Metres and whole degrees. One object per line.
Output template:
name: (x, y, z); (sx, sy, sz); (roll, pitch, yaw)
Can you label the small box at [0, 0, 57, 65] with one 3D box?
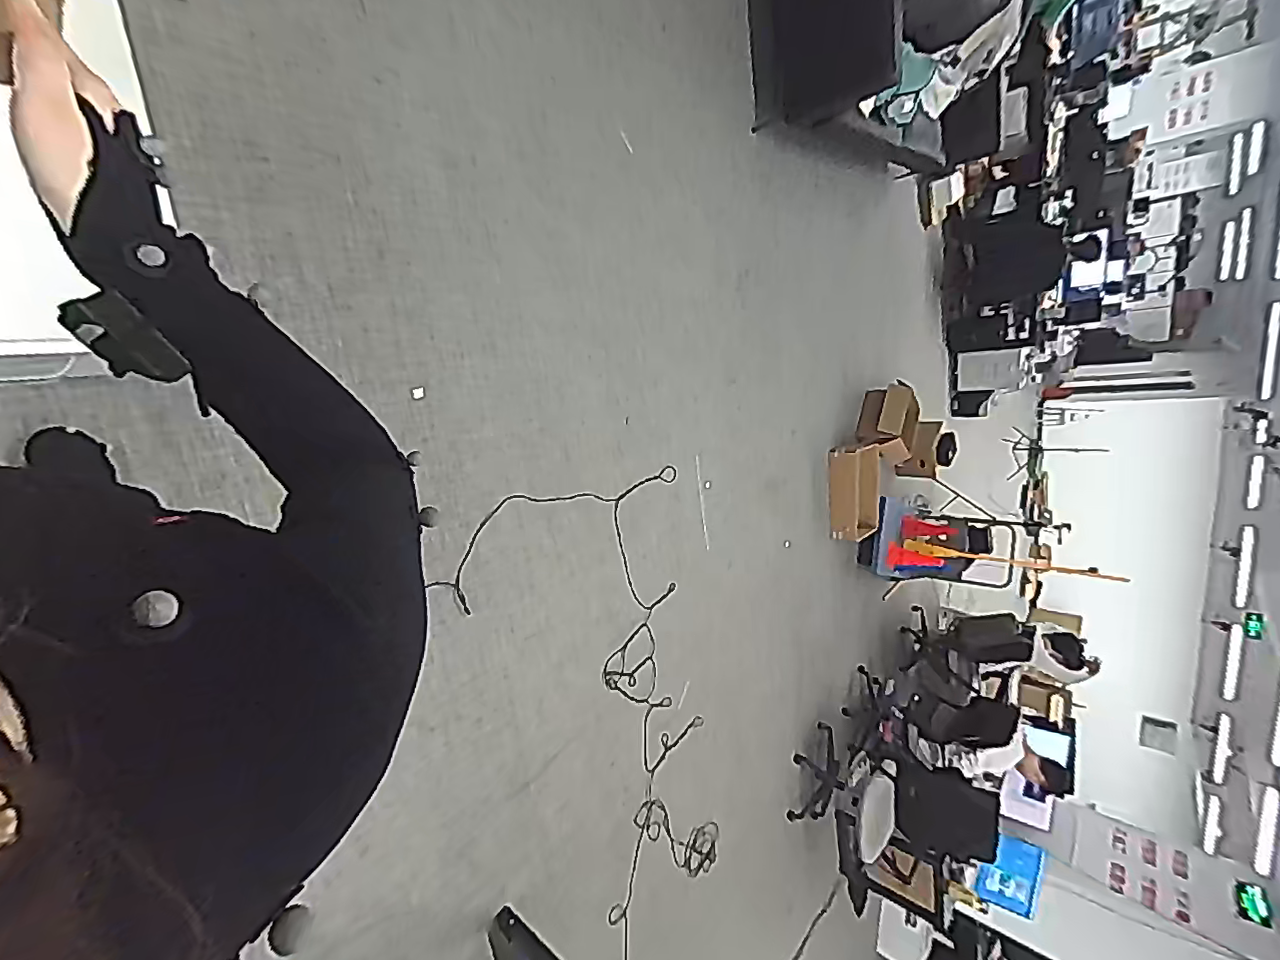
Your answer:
small box: (-0.679, -0.537, 0.501); (0.179, 0.176, 0.168); (-8, 99, -47)
